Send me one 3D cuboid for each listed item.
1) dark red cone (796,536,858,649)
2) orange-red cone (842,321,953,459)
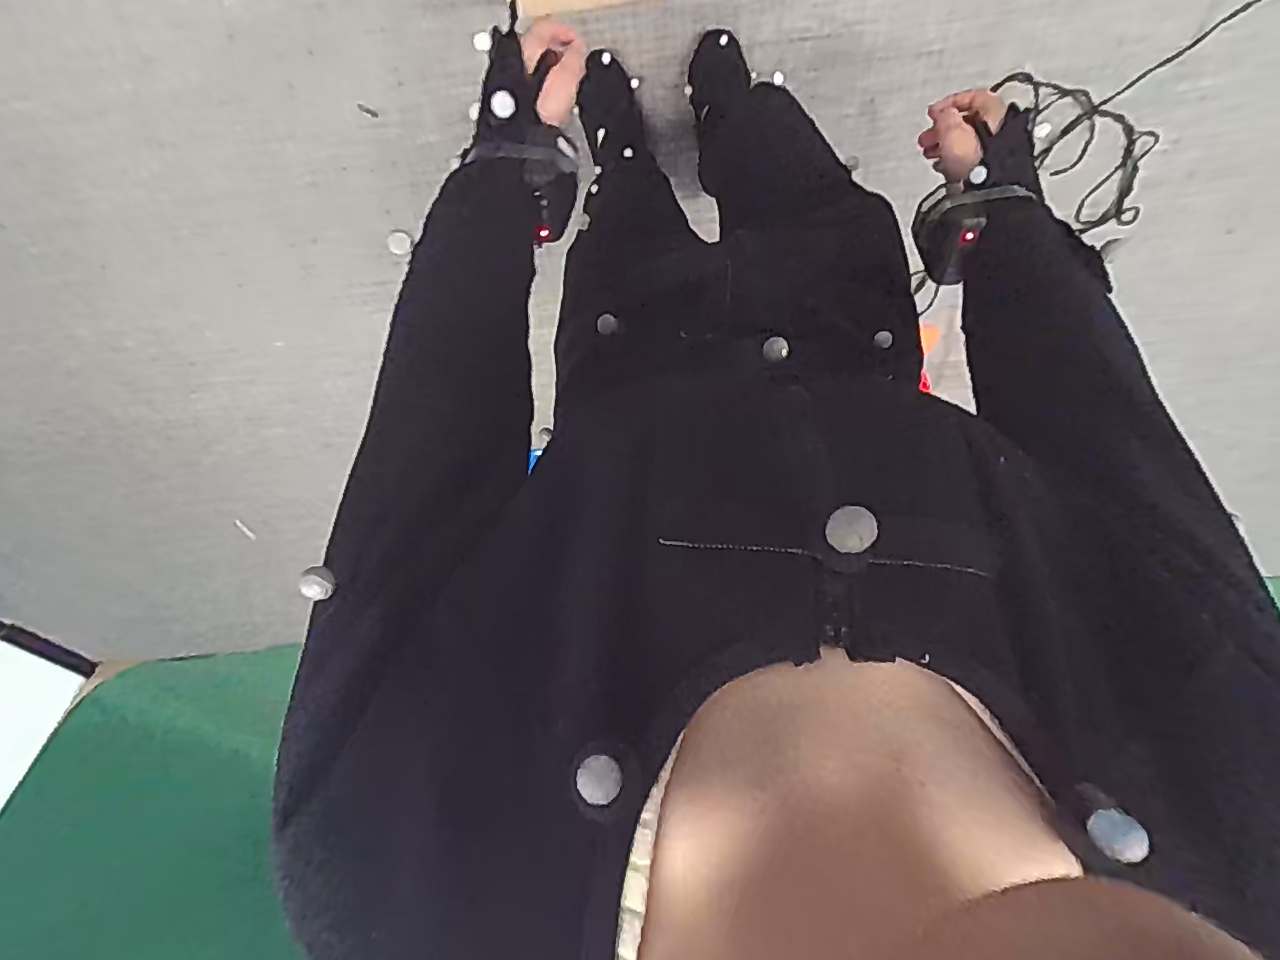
[{"bbox_3d":[0.681,0.396,1.886,0.202,0.394,0.201,-10,139,9],"label":"dark red cone"},{"bbox_3d":[0.658,-0.189,1.290,0.199,0.360,0.198,8,137,-12],"label":"orange-red cone"}]
